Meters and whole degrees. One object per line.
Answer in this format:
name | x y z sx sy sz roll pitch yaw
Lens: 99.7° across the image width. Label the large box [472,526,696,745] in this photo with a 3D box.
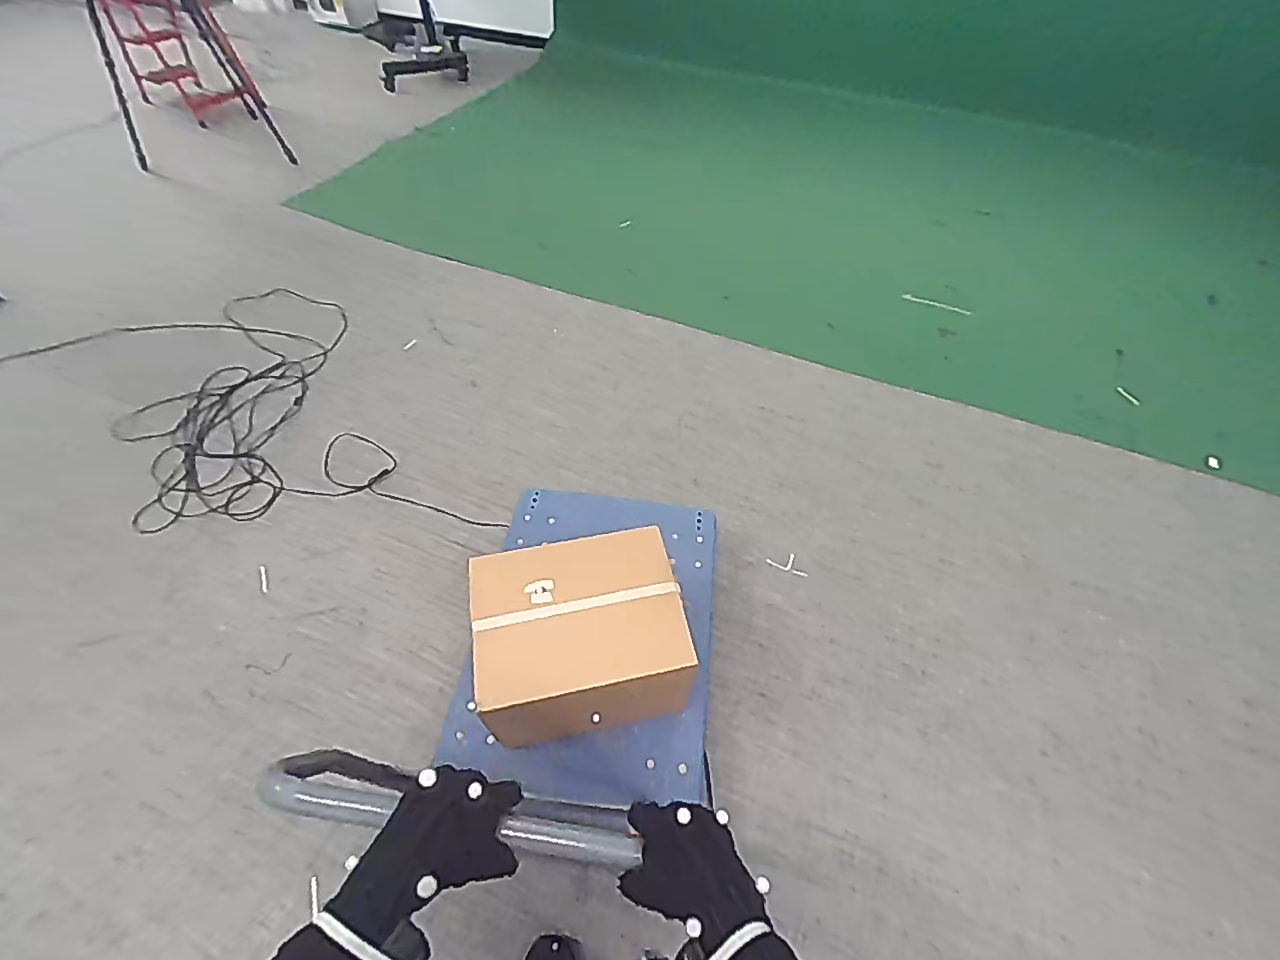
large box | -0.121 0.342 1.180 0.408 0.320 0.320 -10 53 -8
